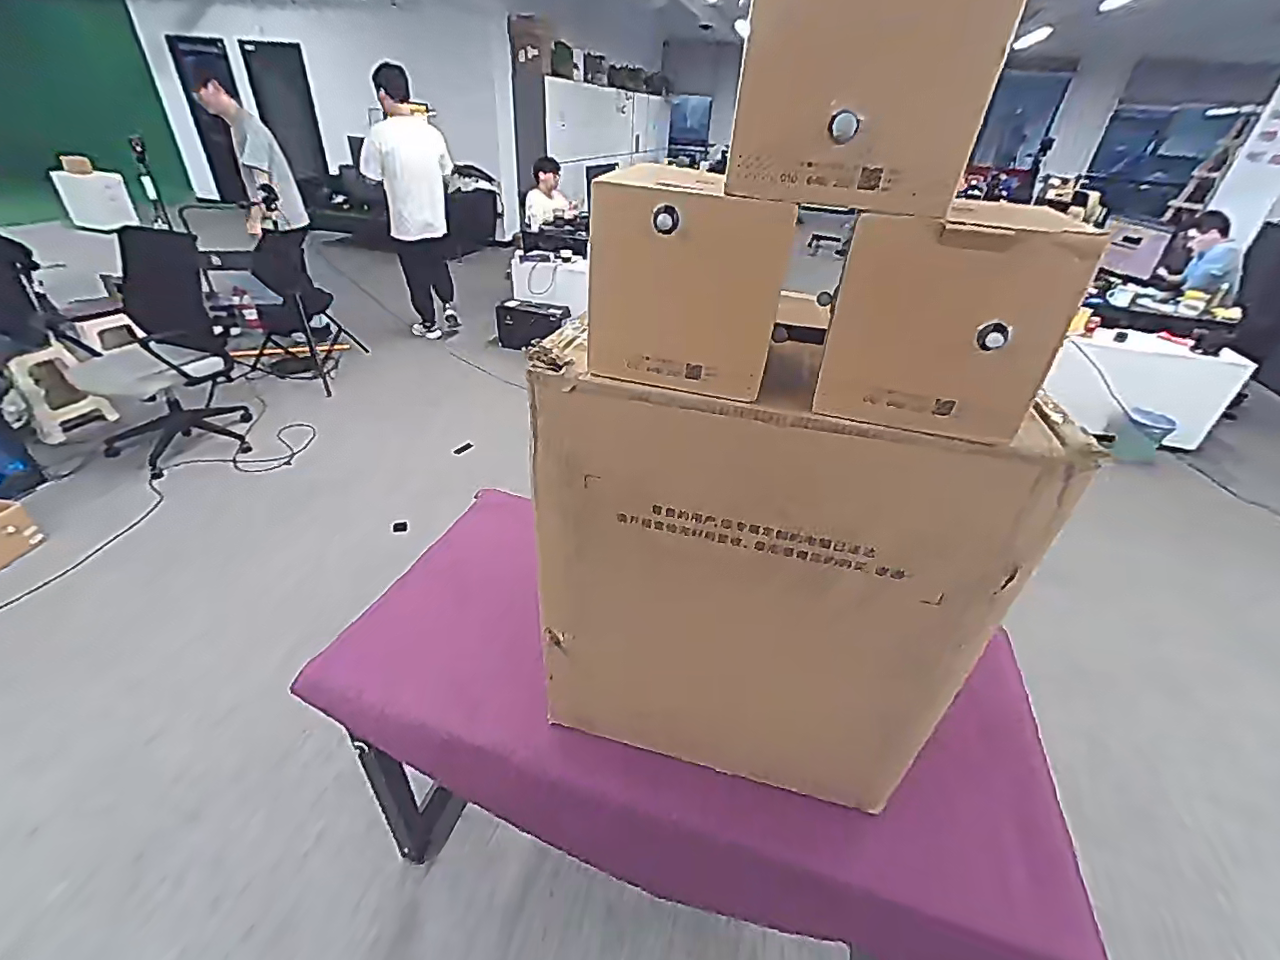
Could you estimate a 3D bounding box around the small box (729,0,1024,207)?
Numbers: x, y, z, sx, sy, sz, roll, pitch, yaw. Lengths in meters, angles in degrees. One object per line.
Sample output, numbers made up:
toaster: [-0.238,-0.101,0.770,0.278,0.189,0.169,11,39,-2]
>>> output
small box: [0.168,-0.322,0.425,0.168,0.176,0.179,10,35,7]

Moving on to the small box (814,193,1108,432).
small box: [0.262,-0.160,0.490,0.168,0.176,0.179,13,34,14]
